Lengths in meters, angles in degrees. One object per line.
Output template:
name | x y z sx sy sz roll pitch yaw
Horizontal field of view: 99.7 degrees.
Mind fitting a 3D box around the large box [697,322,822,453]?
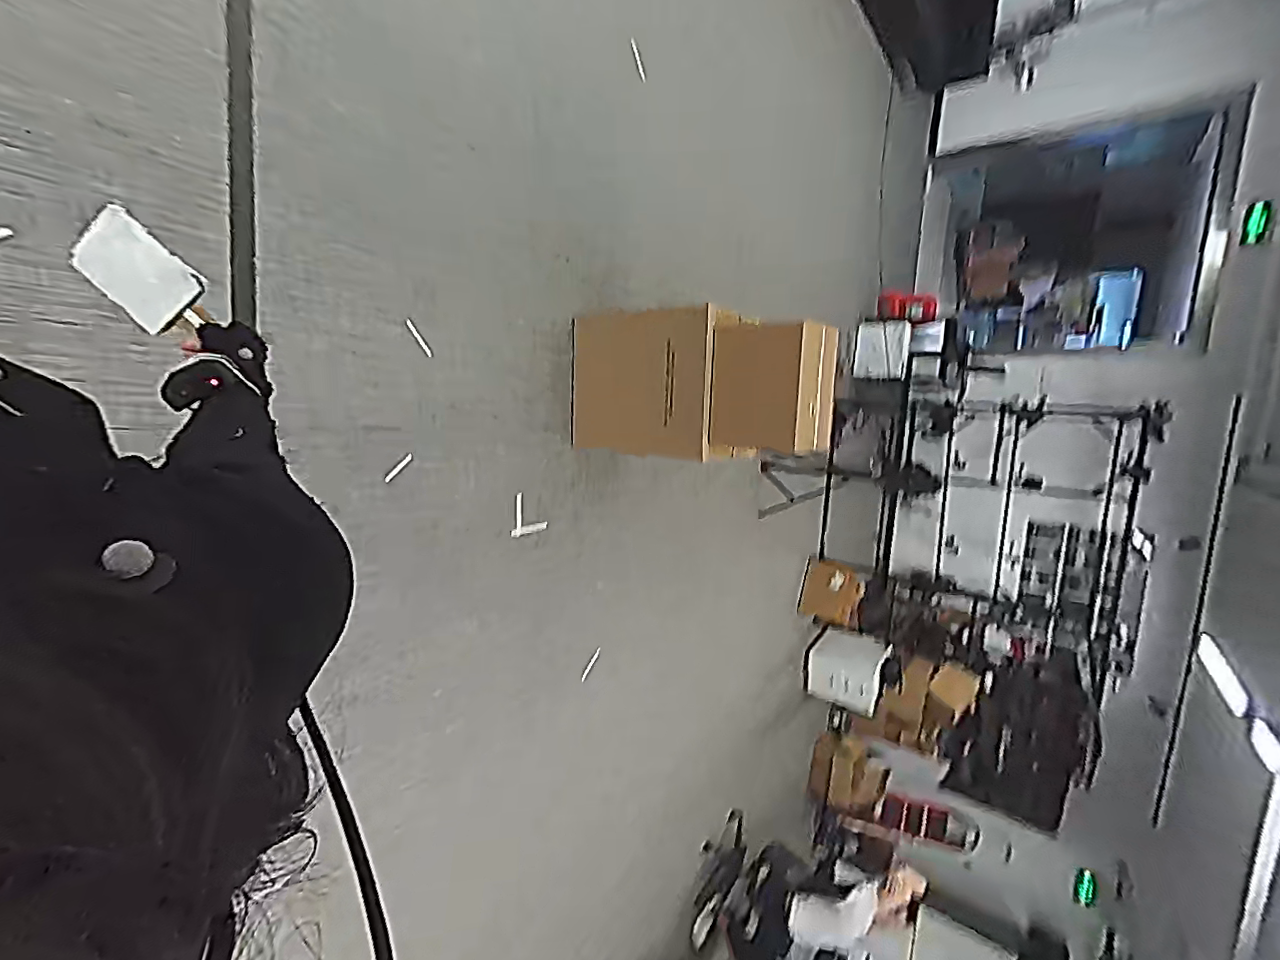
large box | 0.406 -0.318 1.852 0.320 0.320 0.408 -10 105 -52
